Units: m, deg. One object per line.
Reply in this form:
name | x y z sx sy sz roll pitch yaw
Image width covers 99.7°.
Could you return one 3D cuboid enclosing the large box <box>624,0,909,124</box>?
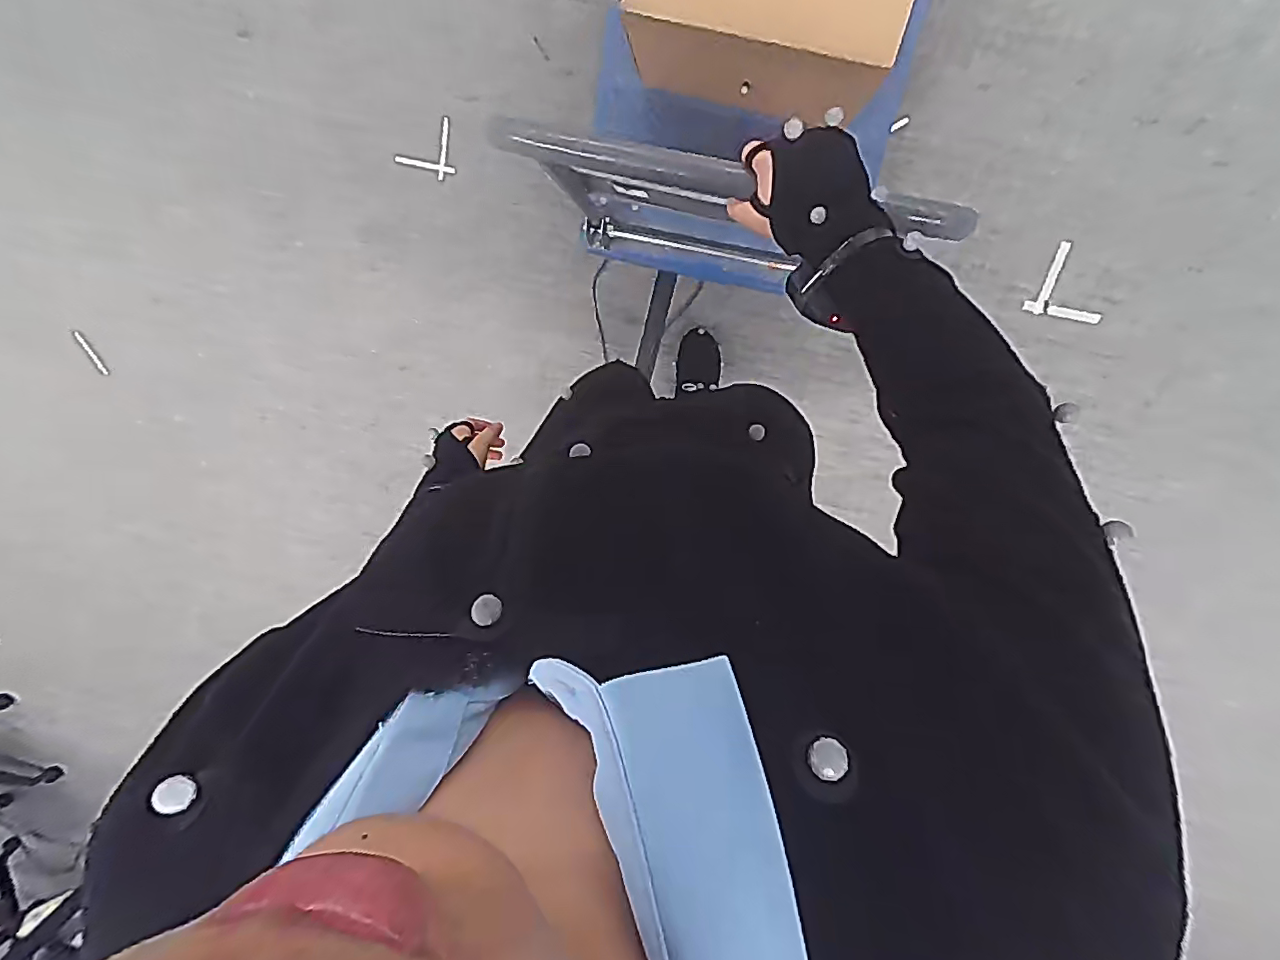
large box | 0.218 -0.829 0.880 0.408 0.320 0.320 14 109 3
